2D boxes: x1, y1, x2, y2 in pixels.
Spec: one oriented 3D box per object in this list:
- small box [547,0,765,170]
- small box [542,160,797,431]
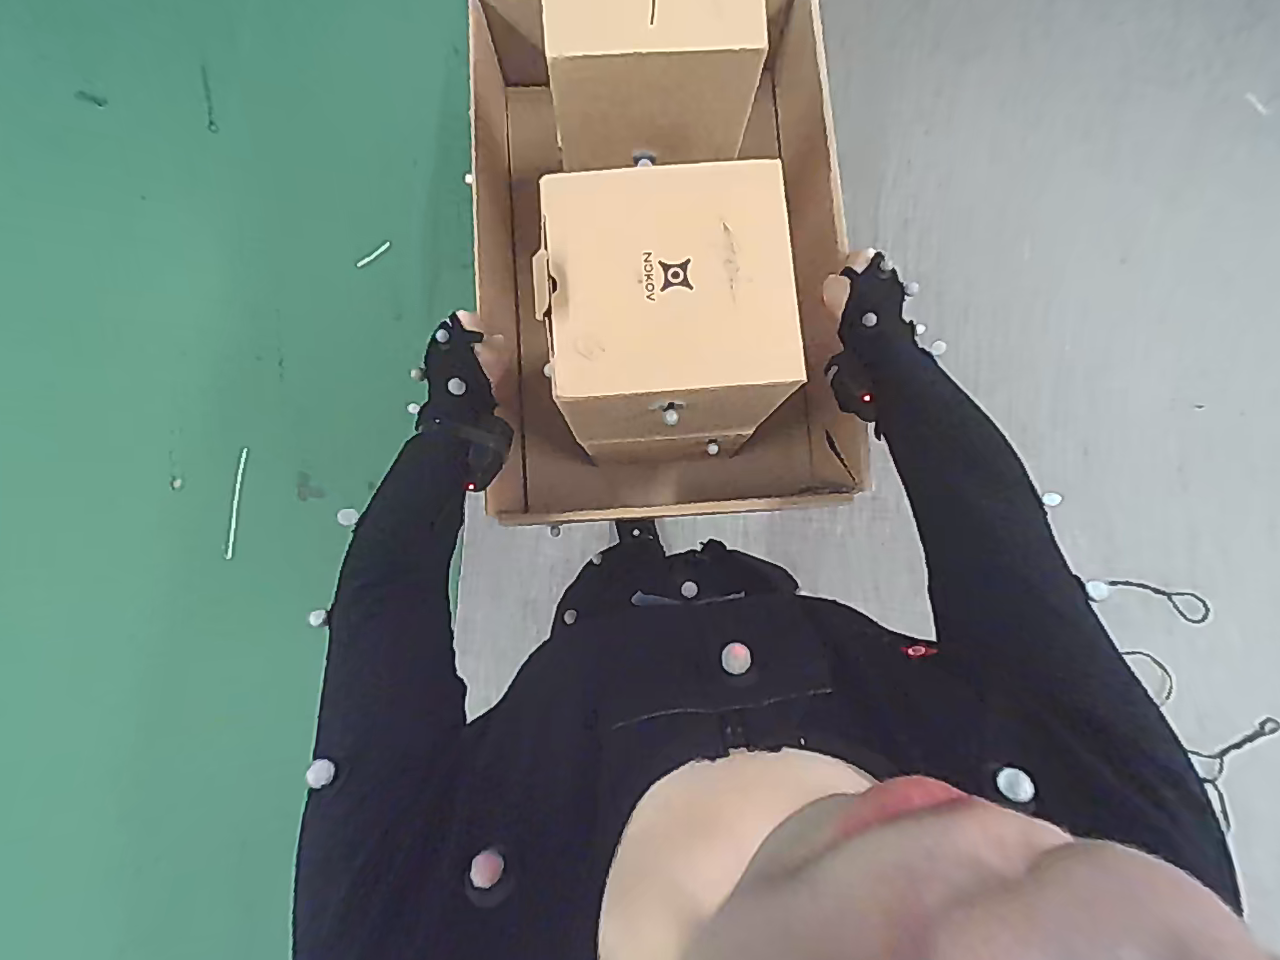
[{"bbox_3d":[0.007,-0.396,0.489,0.168,0.176,0.179,-3,86,-2],"label":"small box"},{"bbox_3d":[0.018,-0.141,0.467,0.179,0.176,0.168,-4,84,-2],"label":"small box"}]
